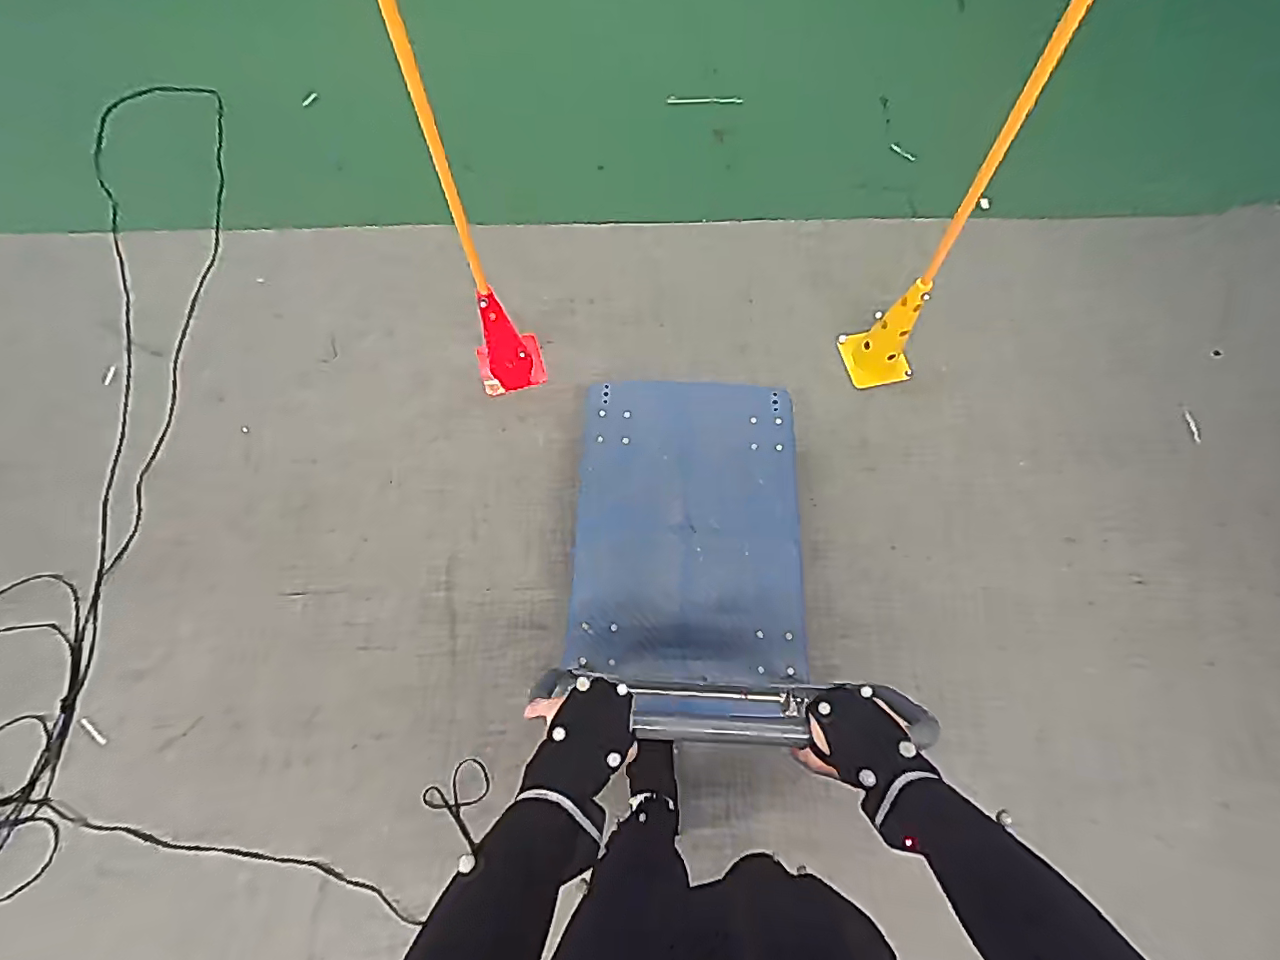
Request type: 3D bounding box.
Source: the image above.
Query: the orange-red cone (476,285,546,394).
[{"bbox_3d":[-0.418,-0.439,1.596,0.199,0.360,0.198,-15,69,-5],"label":"orange-red cone"}]
